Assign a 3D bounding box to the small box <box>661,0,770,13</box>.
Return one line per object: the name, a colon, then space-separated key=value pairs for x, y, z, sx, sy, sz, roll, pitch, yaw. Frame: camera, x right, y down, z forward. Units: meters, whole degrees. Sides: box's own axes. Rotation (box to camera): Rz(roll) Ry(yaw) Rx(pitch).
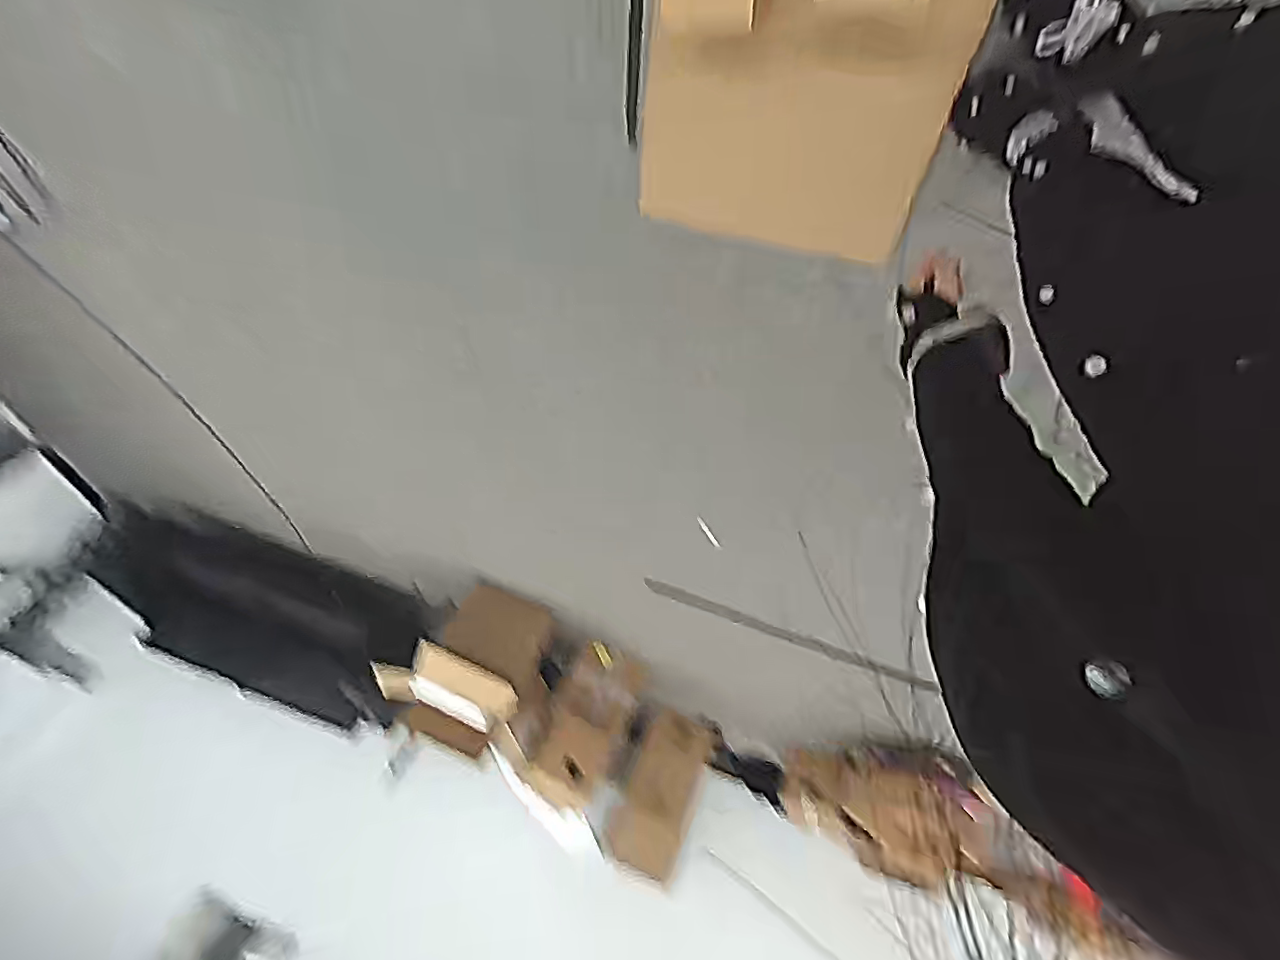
small box: x=0.141 y=-0.907 z=0.903 sx=0.168 sy=0.176 sz=0.179 roll=15 pitch=140 yaw=15
